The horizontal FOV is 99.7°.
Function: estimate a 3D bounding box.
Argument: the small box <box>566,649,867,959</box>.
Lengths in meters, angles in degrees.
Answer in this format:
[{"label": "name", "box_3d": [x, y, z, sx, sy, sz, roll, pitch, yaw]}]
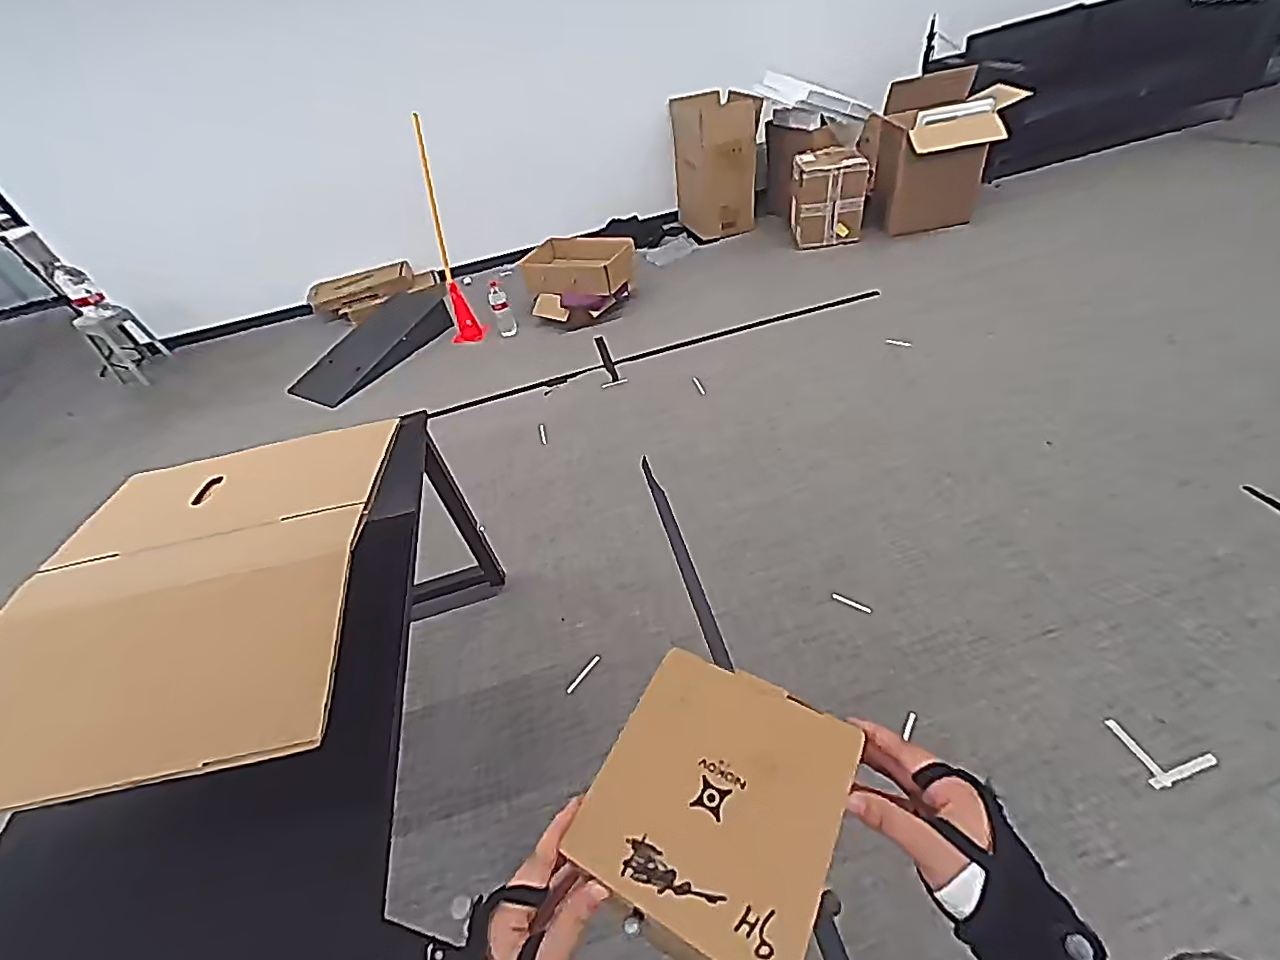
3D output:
[{"label": "small box", "box_3d": [0.069, 0.281, 0.439, 0.168, 0.176, 0.179, 15, 46, 29]}]
